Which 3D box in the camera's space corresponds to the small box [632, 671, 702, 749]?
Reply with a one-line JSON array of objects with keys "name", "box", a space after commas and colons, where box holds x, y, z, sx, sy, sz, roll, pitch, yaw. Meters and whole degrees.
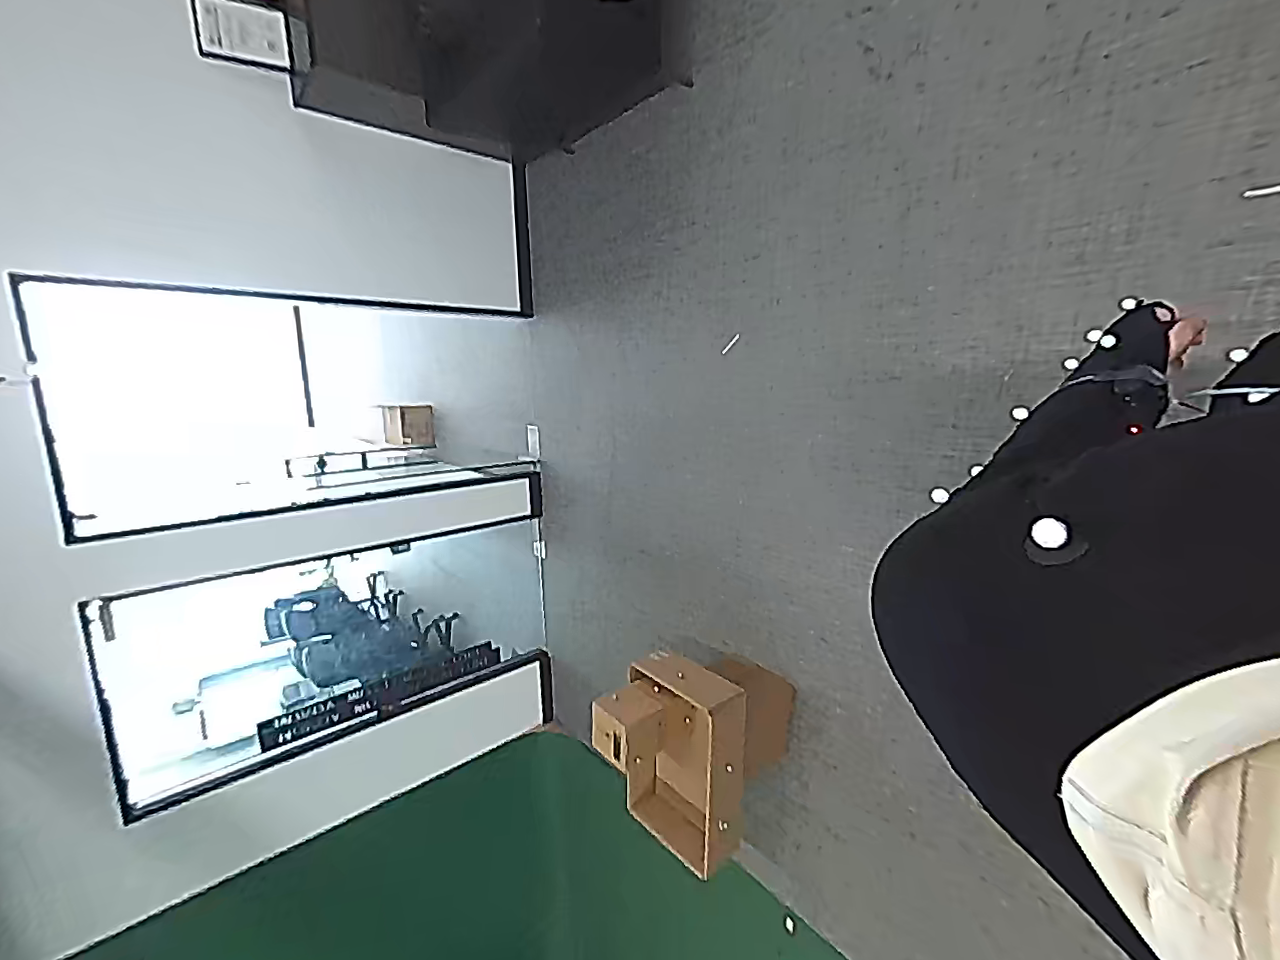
[{"name": "small box", "box": [0.093, 0.794, 1.892, 0.179, 0.176, 0.168, 13, 106, 47]}]
